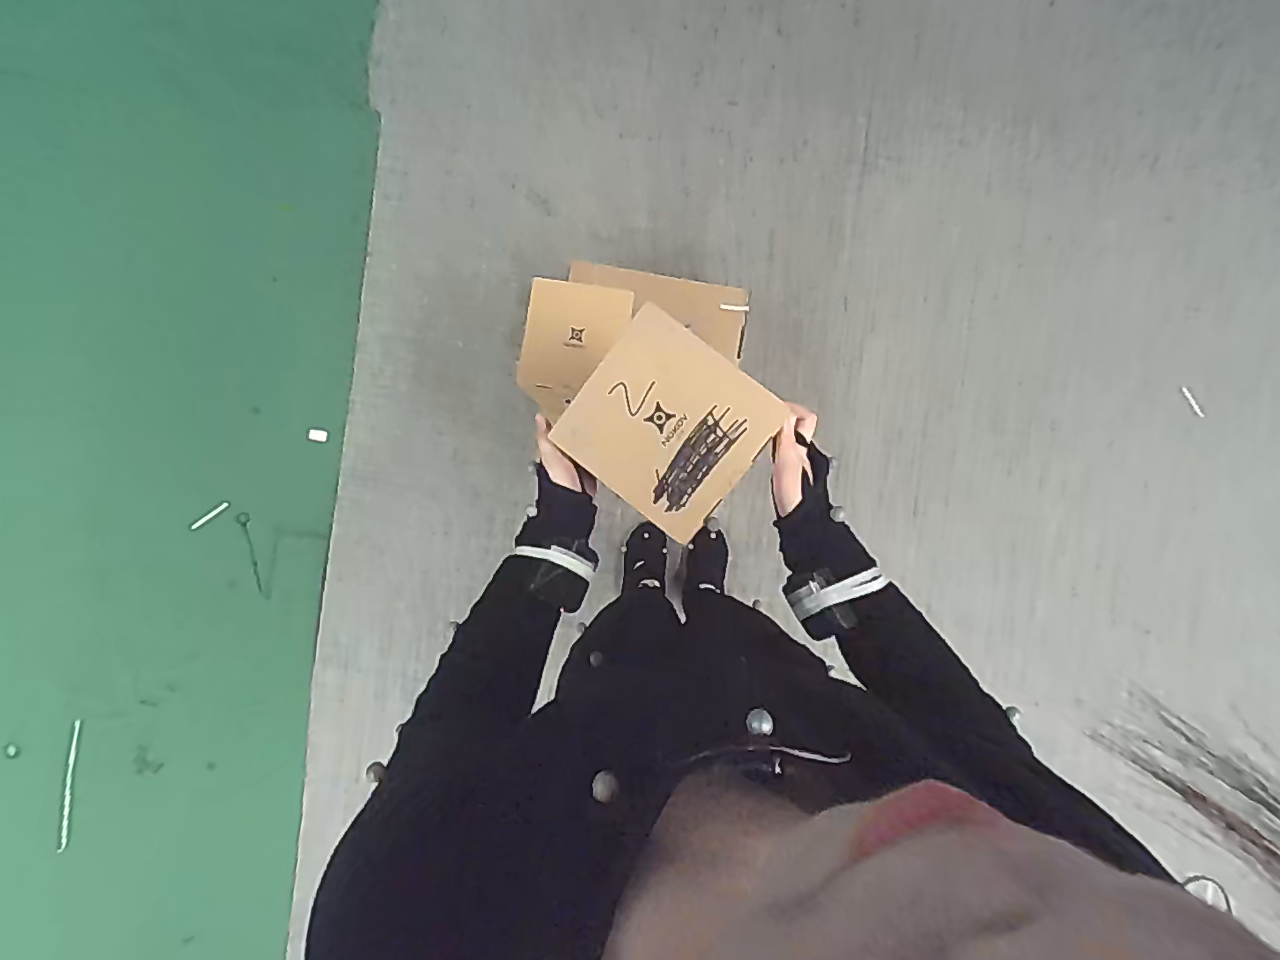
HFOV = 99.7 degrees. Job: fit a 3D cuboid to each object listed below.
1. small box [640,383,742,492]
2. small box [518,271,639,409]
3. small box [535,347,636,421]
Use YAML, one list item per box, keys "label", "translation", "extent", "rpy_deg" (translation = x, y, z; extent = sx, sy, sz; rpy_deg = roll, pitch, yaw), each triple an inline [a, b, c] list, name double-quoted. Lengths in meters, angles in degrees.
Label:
- label: "small box"
  translation: [0.094, -0.078, 1.087]
  extent: [0.168, 0.176, 0.179]
  rpy_deg: [12, 88, 0]
- label: "small box"
  translation: [-0.098, -0.230, 0.931]
  extent: [0.168, 0.176, 0.179]
  rpy_deg: [10, 91, 1]
- label: "small box"
  translation: [-0.102, -0.225, 1.094]
  extent: [0.168, 0.176, 0.179]
  rpy_deg: [10, 88, 1]
